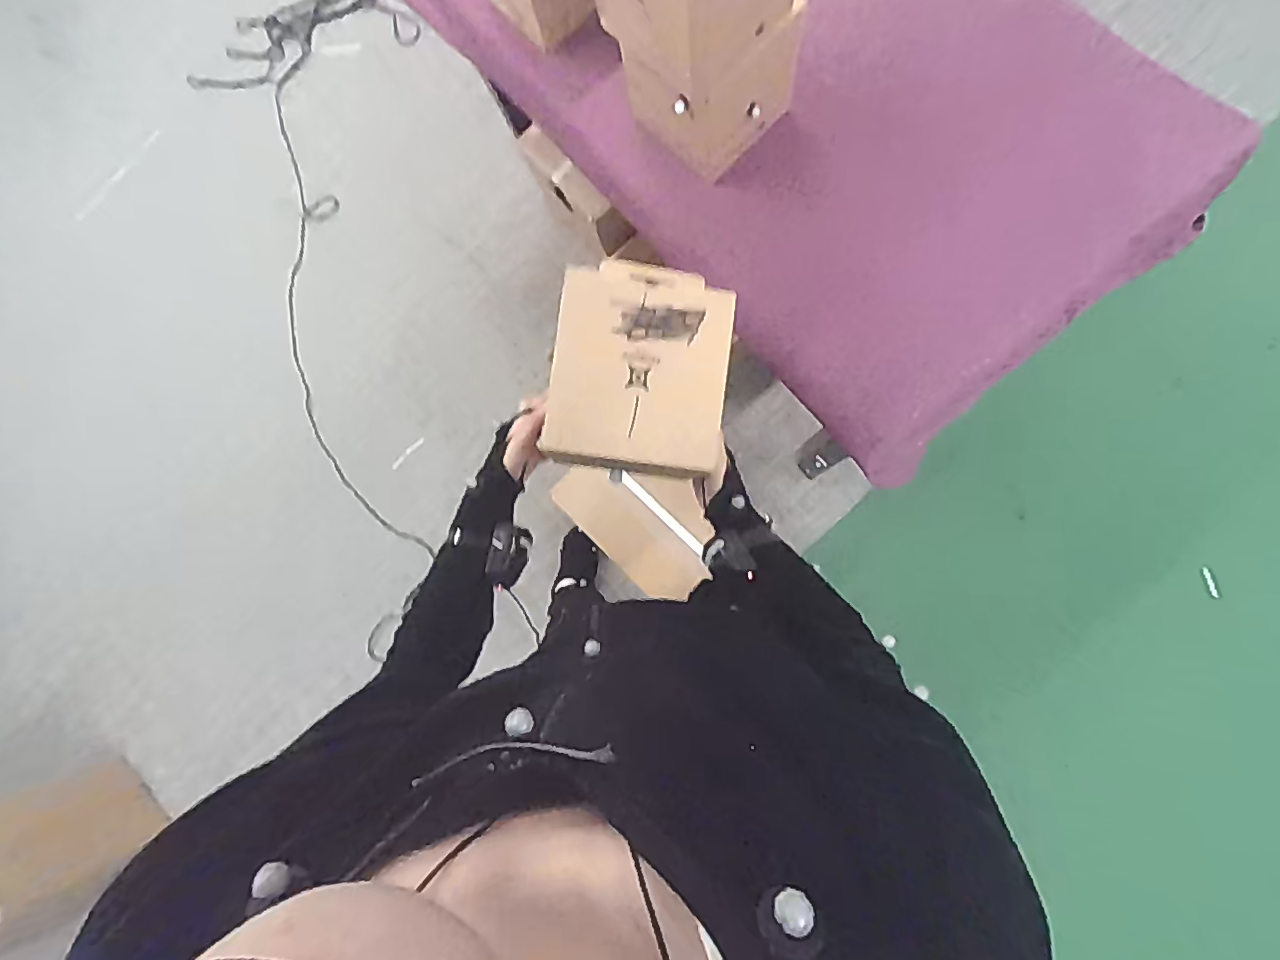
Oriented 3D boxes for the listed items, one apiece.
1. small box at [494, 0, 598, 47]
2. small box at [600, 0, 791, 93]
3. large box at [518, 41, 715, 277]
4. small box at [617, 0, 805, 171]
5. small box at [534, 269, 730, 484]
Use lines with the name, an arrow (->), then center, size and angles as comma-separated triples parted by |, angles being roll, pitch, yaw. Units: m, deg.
small box -> -0.151, -0.812, 0.798 | 0.179, 0.176, 0.168 | -42, 81, 3
small box -> 0.054, -0.573, 0.576 | 0.168, 0.176, 0.179 | -45, 80, 2
large box -> -0.042, -0.846, 1.456 | 0.408, 0.320, 0.320 | -43, 81, 4
small box -> 0.093, -0.566, 0.737 | 0.168, 0.176, 0.179 | -43, 80, 1
small box -> -0.012, -0.095, 0.582 | 0.168, 0.176, 0.179 | 8, 86, -4
